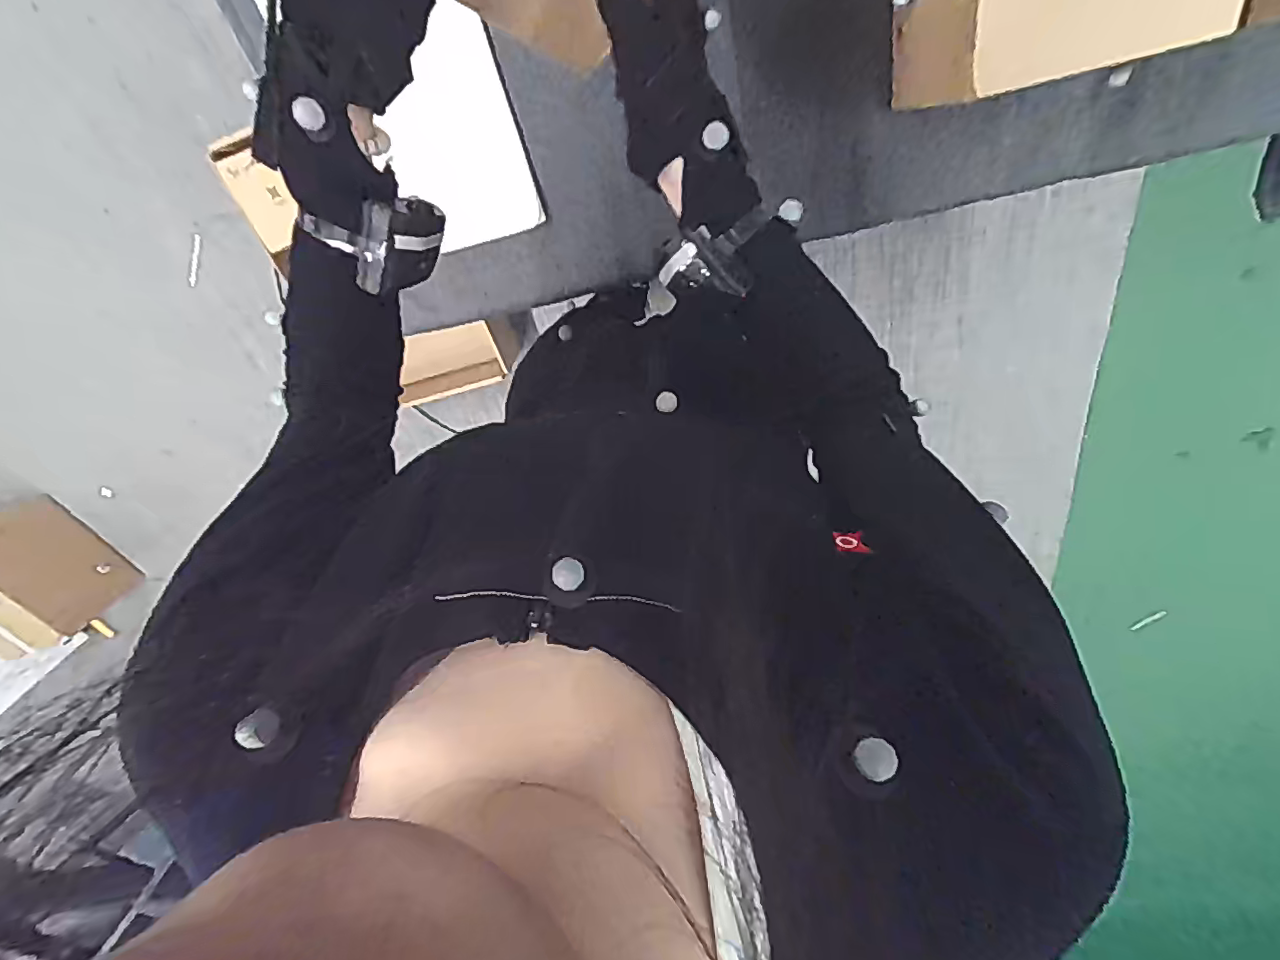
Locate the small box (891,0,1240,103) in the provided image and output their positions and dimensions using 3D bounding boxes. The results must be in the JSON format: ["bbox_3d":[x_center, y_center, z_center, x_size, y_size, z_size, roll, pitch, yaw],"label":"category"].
[{"bbox_3d":[0.314,-0.408,0.414,0.179,0.176,0.168,-9,121,9],"label":"small box"}]

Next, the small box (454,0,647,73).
[{"bbox_3d":[-0.056,-0.391,0.290,0.168,0.176,0.179,1,170,-36],"label":"small box"}]
